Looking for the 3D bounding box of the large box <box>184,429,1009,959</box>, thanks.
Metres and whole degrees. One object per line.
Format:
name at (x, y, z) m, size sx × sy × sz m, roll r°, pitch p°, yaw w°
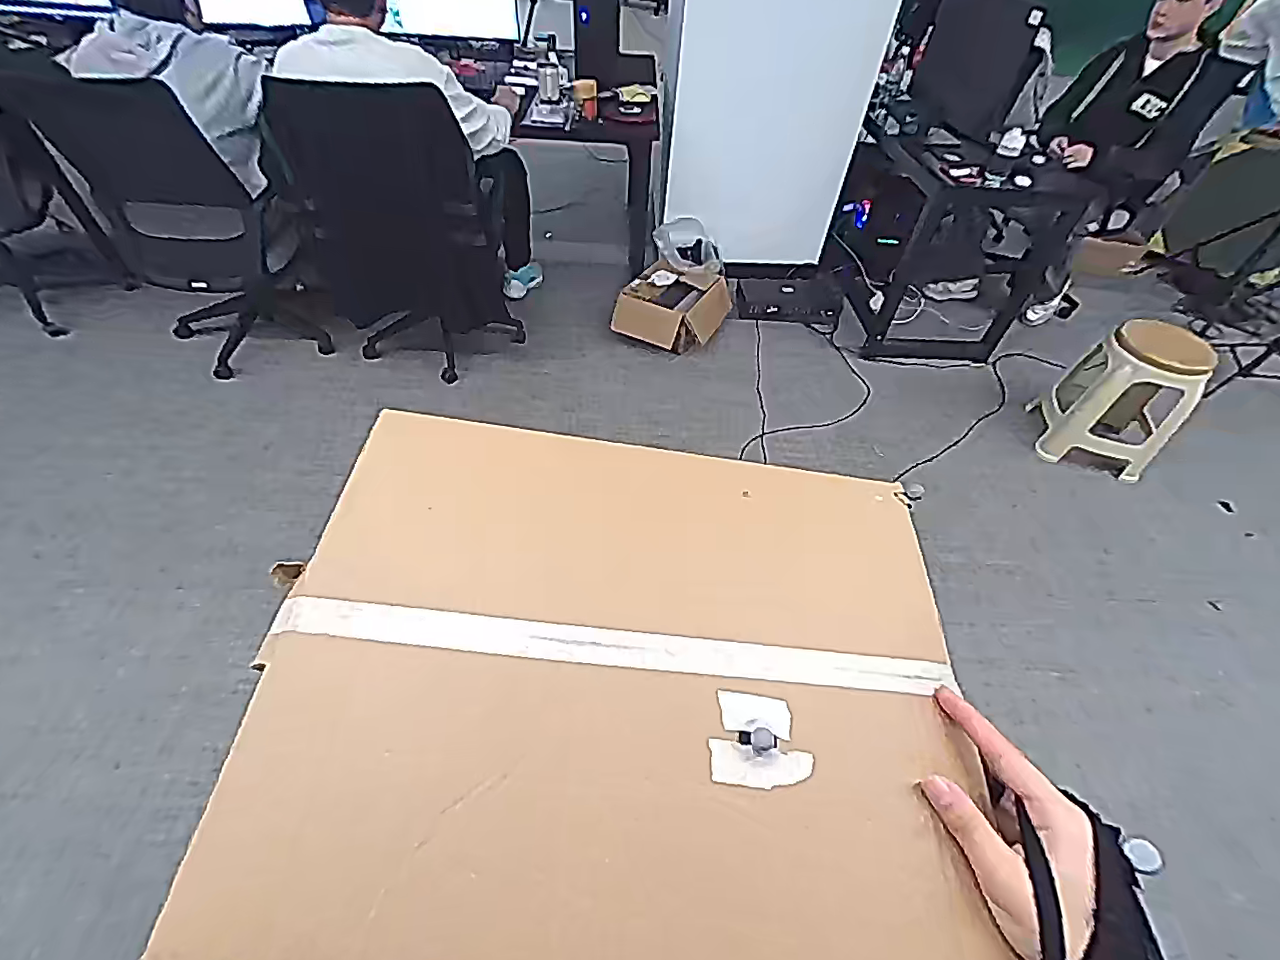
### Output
large box at (-0.023, 0.194, 0.458) m, size 0.408 × 0.320 × 0.320 m, roll 8°, pitch 56°, yaw -6°
